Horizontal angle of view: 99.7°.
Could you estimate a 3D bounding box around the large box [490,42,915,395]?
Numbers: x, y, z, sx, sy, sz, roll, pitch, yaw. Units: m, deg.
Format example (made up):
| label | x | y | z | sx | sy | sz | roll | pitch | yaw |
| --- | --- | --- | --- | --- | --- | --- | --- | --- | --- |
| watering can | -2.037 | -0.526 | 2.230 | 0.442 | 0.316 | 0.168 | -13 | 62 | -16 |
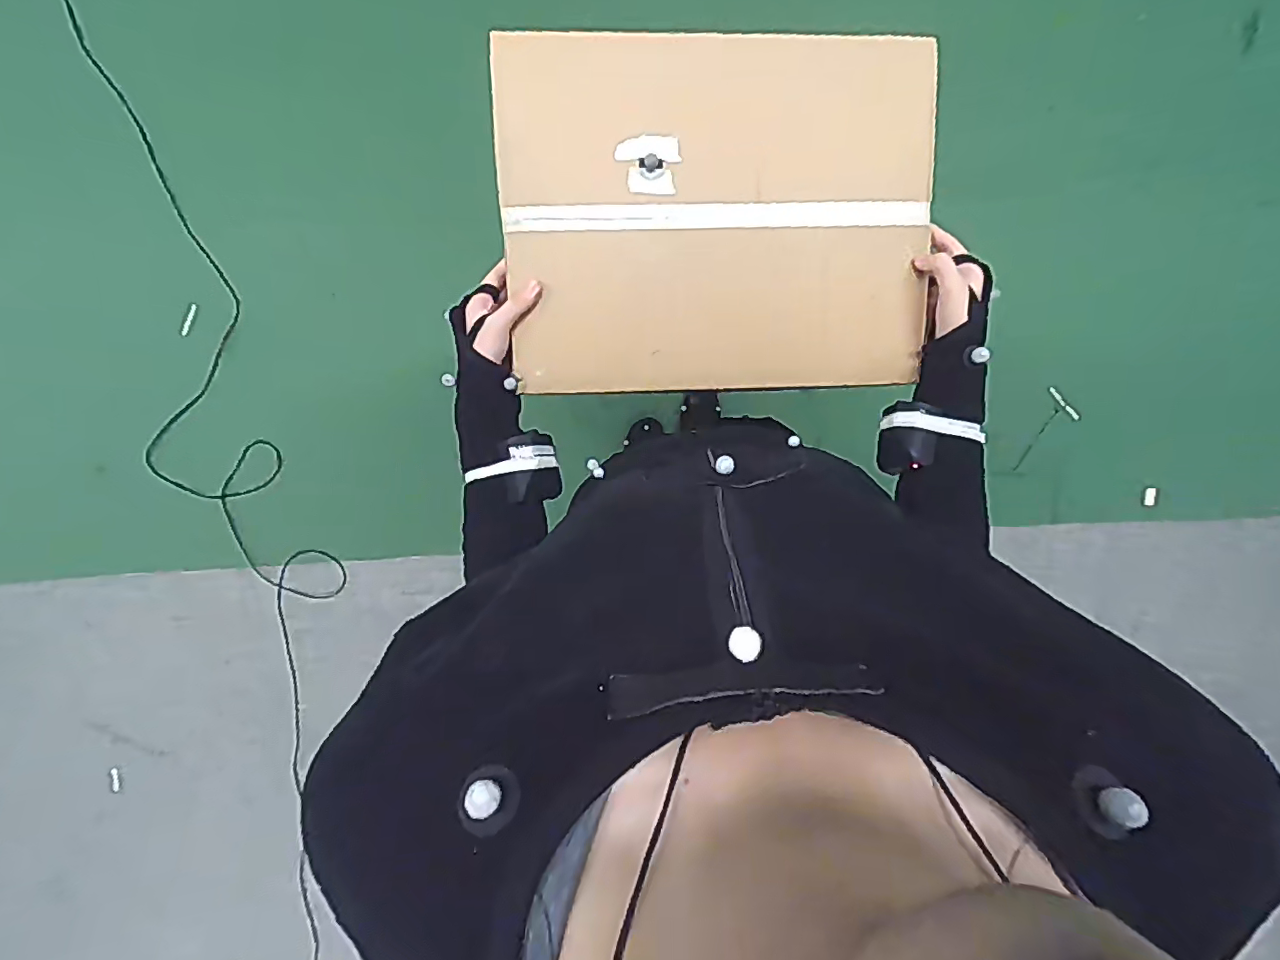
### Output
| label | x | y | z | sx | sy | sz | roll | pitch | yaw |
| --- | --- | --- | --- | --- | --- | --- | --- | --- | --- |
| large box | 0.061 | -0.272 | 0.667 | 0.408 | 0.320 | 0.320 | -3 | 98 | -3 |
